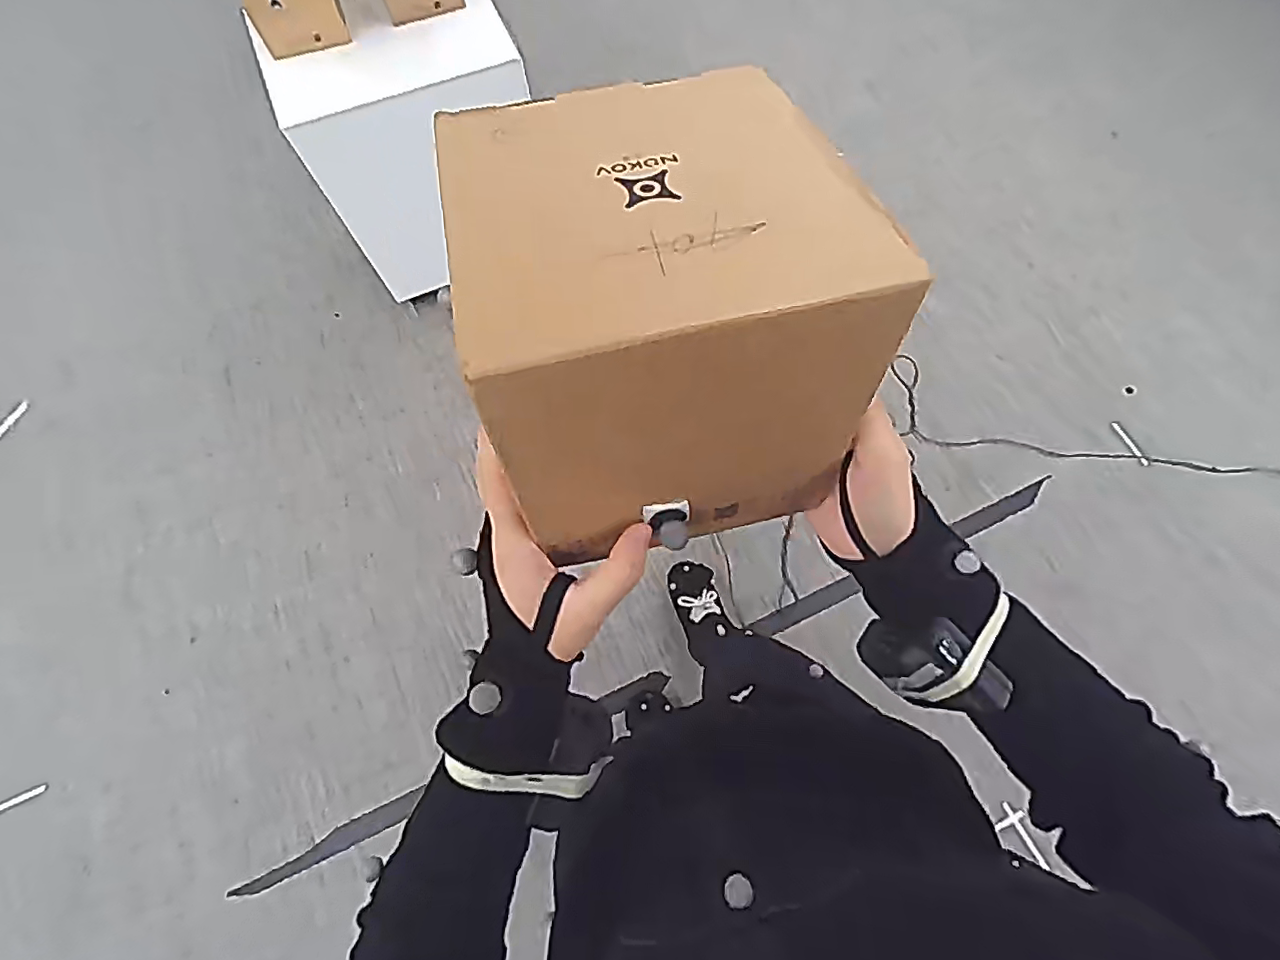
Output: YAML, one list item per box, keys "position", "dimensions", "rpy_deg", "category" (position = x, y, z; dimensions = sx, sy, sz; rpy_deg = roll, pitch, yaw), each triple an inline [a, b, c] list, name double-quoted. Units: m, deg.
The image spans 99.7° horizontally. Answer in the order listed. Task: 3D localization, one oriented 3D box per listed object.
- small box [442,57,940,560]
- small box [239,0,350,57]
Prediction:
- position: [0.007, -0.082, 0.289]
  dimensions: [0.168, 0.176, 0.179]
  rpy_deg: [-14, 59, -6]
  category: "small box"
- position: [-0.722, -1.008, 1.105]
  dimensions: [0.168, 0.176, 0.179]
  rpy_deg: [-20, 72, -7]
  category: "small box"
